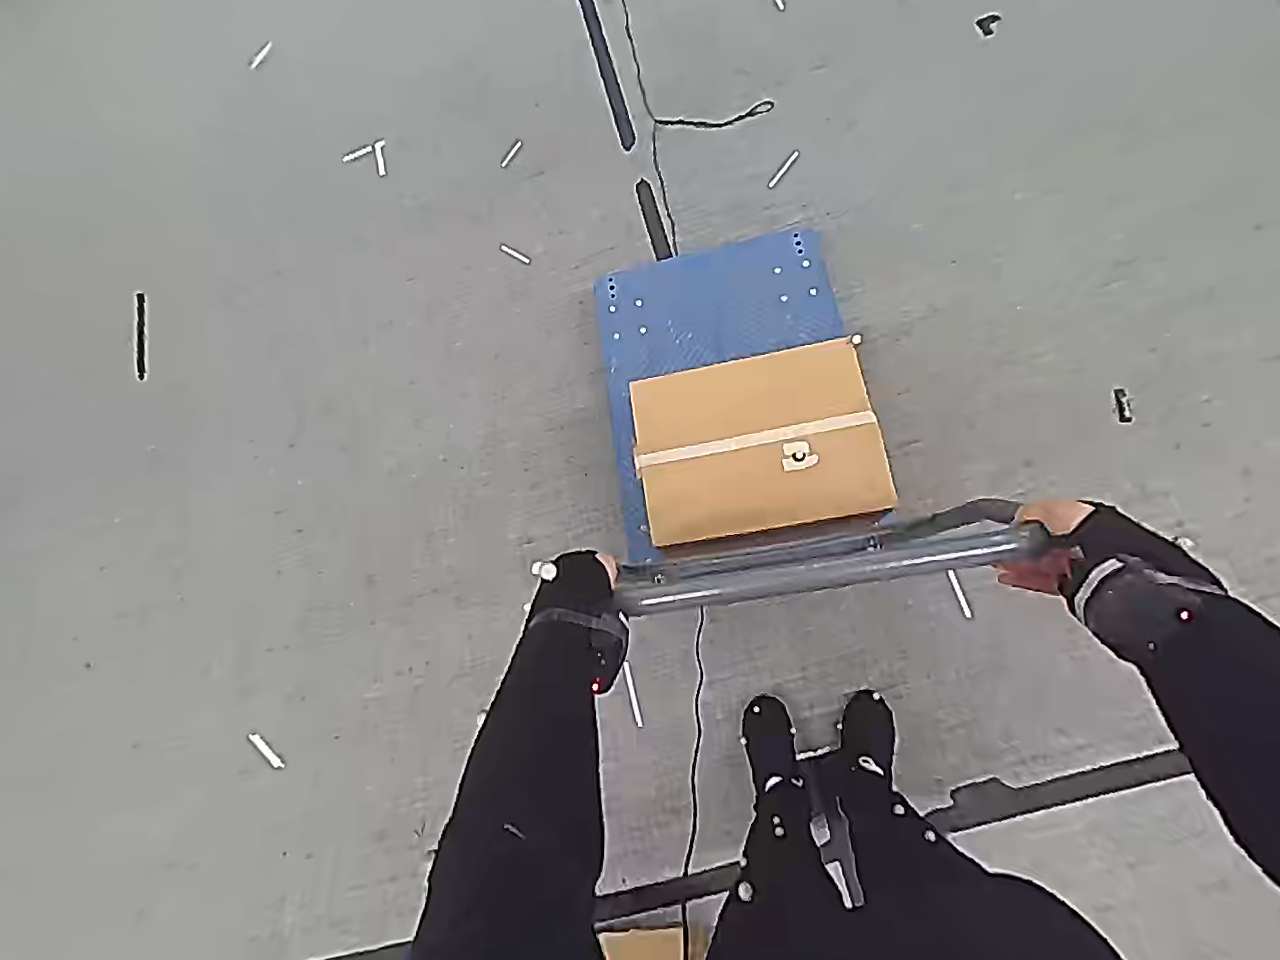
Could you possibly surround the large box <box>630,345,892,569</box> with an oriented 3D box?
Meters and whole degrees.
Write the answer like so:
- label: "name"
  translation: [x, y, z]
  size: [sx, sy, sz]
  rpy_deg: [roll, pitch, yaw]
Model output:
- label: "large box"
  translation: [0.219, -0.020, 1.082]
  size: [0.408, 0.320, 0.320]
  rpy_deg: [-11, 74, 7]
